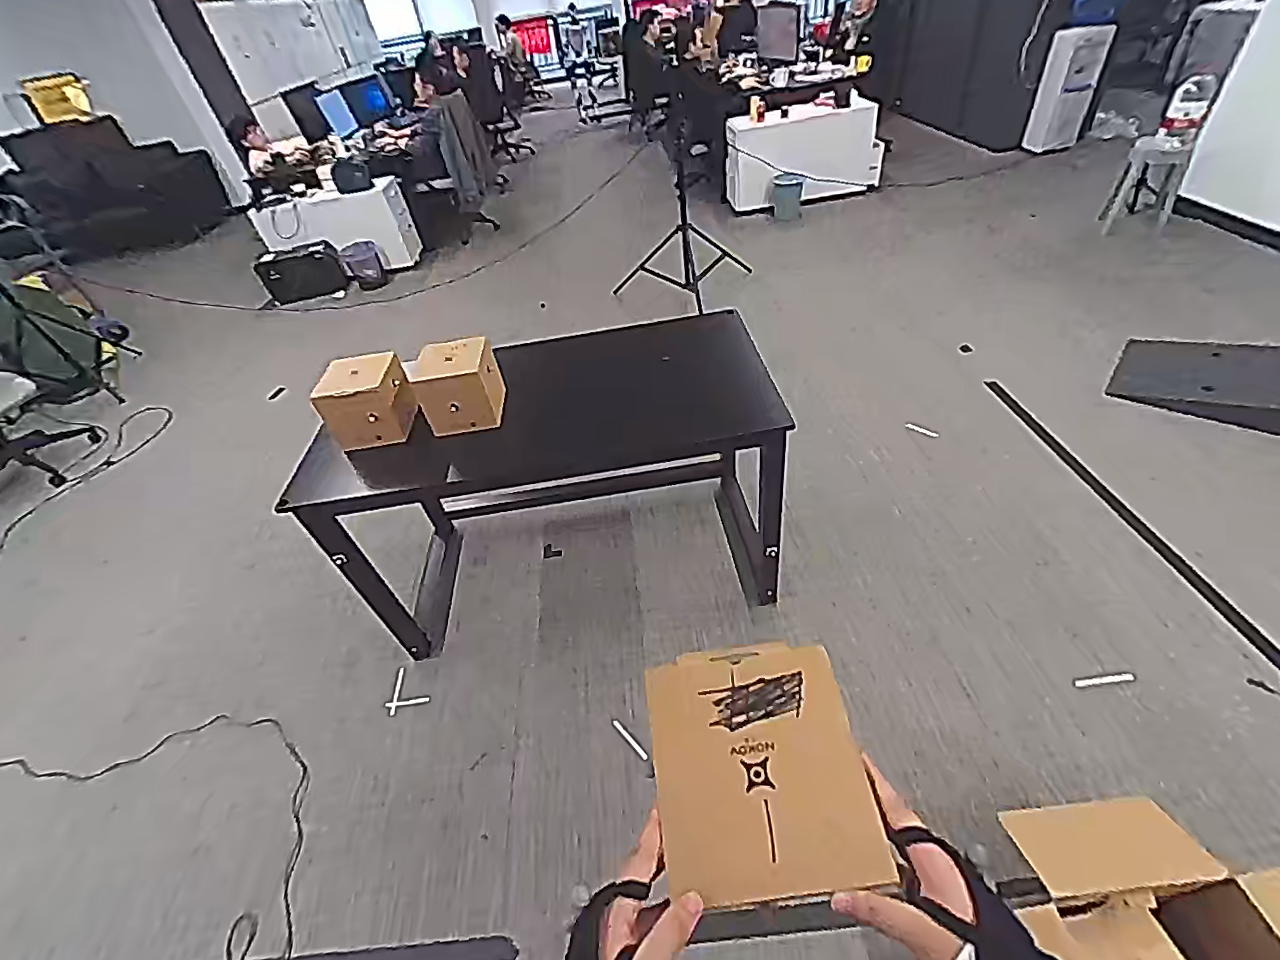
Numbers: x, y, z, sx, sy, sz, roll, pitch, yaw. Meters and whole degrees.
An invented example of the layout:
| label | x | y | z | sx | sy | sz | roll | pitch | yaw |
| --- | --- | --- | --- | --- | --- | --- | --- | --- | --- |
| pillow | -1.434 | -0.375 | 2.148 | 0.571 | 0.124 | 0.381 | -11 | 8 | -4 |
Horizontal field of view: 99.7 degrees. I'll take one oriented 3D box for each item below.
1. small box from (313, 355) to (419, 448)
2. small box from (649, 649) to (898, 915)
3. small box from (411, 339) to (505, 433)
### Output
| label | x | y | z | sx | sy | sz | roll | pitch | yaw |
| --- | --- | --- | --- | --- | --- | --- | --- | --- | --- |
| small box | -0.688 | -0.195 | 1.381 | 0.168 | 0.176 | 0.179 | -8 | 41 | 0 |
| small box | 0.101 | 0.278 | 0.494 | 0.168 | 0.176 | 0.179 | -8 | 51 | 1 |
| small box | -0.451 | -0.232 | 1.373 | 0.168 | 0.176 | 0.179 | -8 | 42 | 1 |
